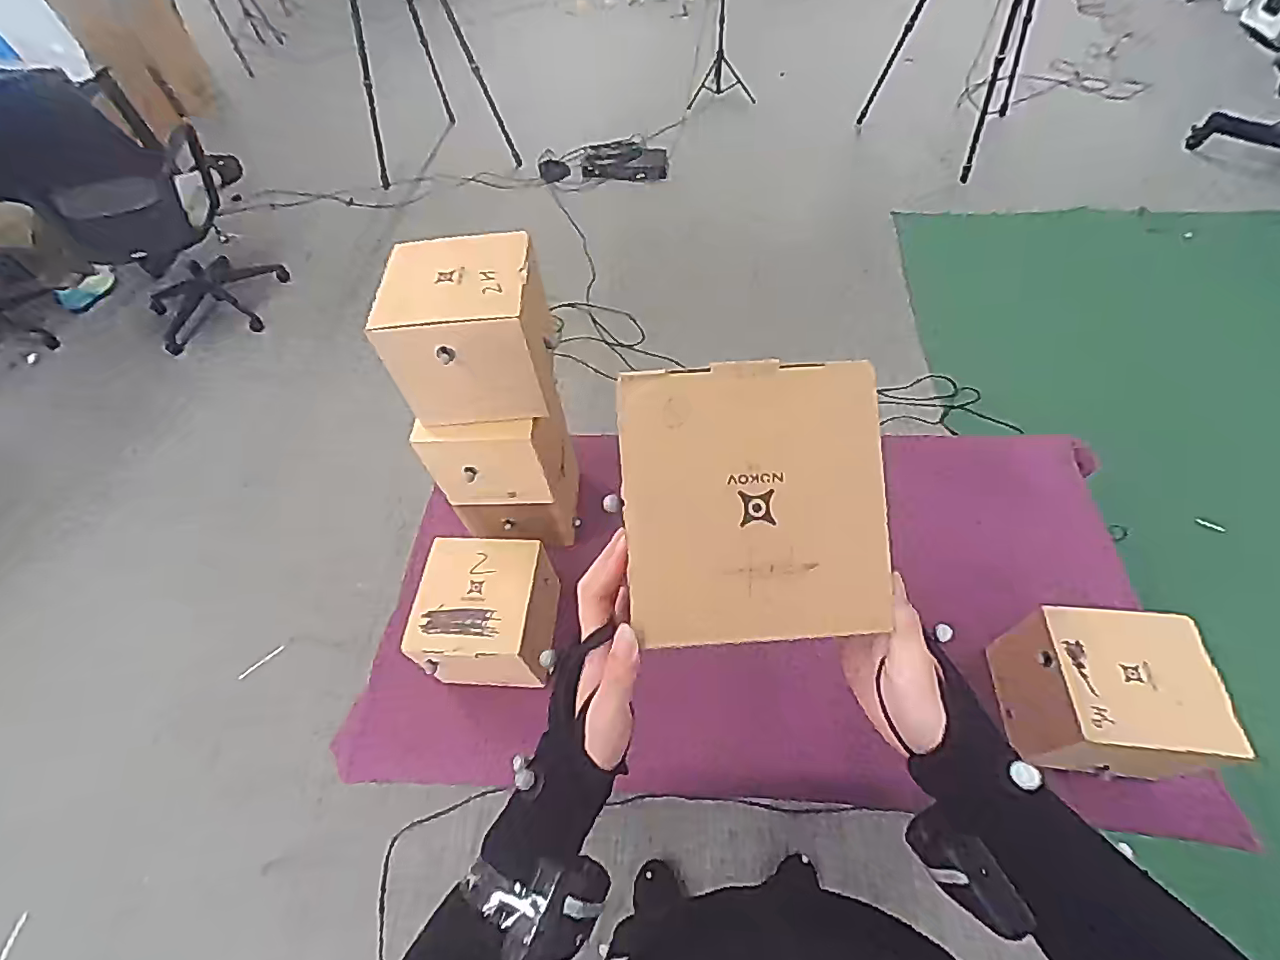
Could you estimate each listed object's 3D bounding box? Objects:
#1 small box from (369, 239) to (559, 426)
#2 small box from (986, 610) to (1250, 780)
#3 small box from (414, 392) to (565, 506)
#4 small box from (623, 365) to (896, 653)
[{"bbox_3d":[-0.212,-0.185,0.705,0.179,0.176,0.168,-4,56,1],"label":"small box"},{"bbox_3d":[0.601,0.287,0.712,0.179,0.176,0.168,4,55,7],"label":"small box"},{"bbox_3d":[-0.214,-0.071,0.827,0.168,0.176,0.179,-1,55,3],"label":"small box"},{"bbox_3d":[0.072,0.020,0.417,0.168,0.176,0.179,-3,88,-1],"label":"small box"}]
